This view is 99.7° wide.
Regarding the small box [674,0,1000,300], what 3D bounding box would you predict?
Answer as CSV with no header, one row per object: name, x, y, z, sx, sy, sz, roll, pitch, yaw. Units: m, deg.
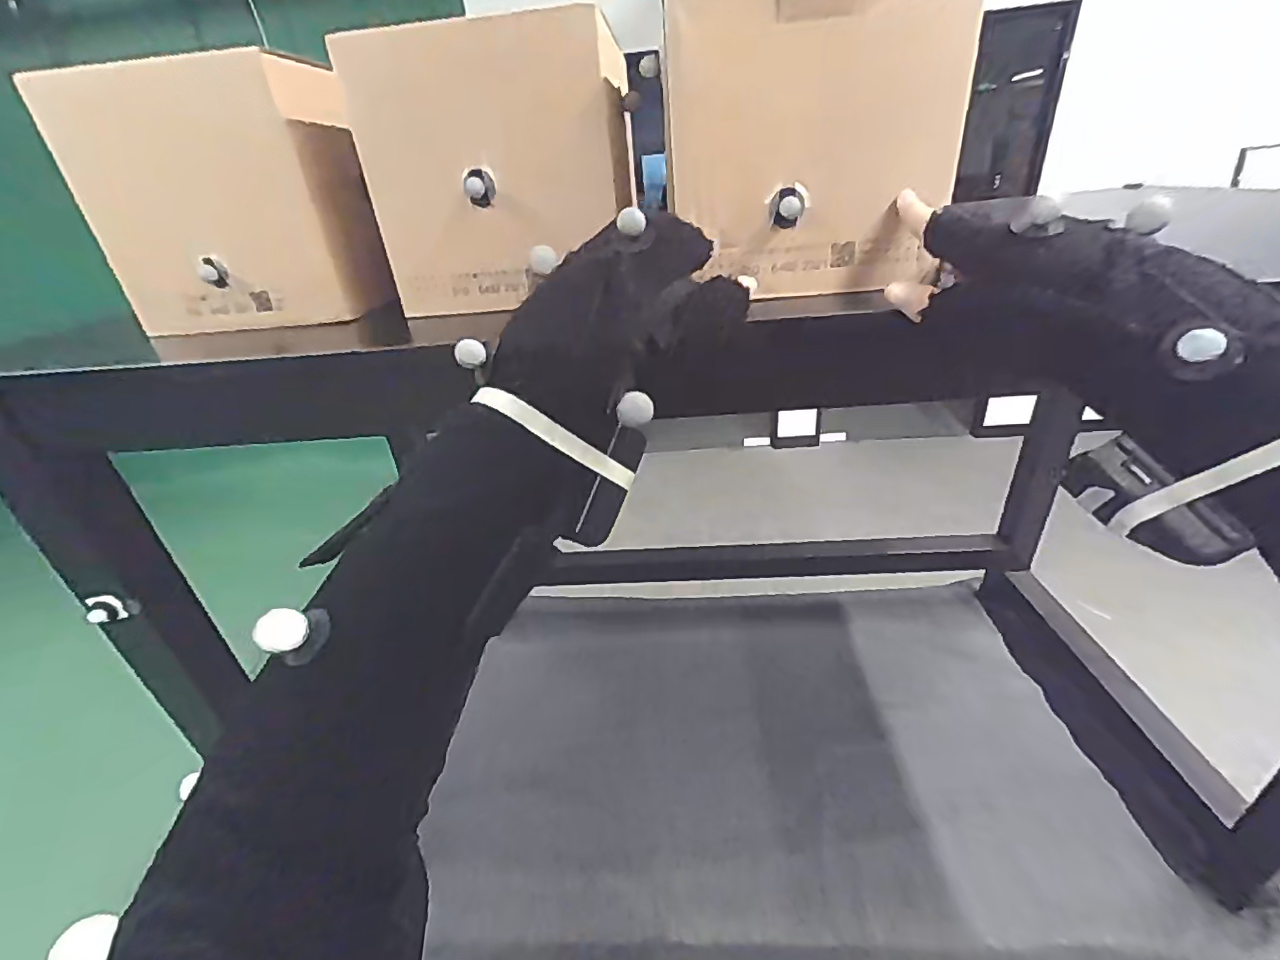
small box,0.108,-0.229,0.380,0.168,0.176,0.179,-3,30,4
